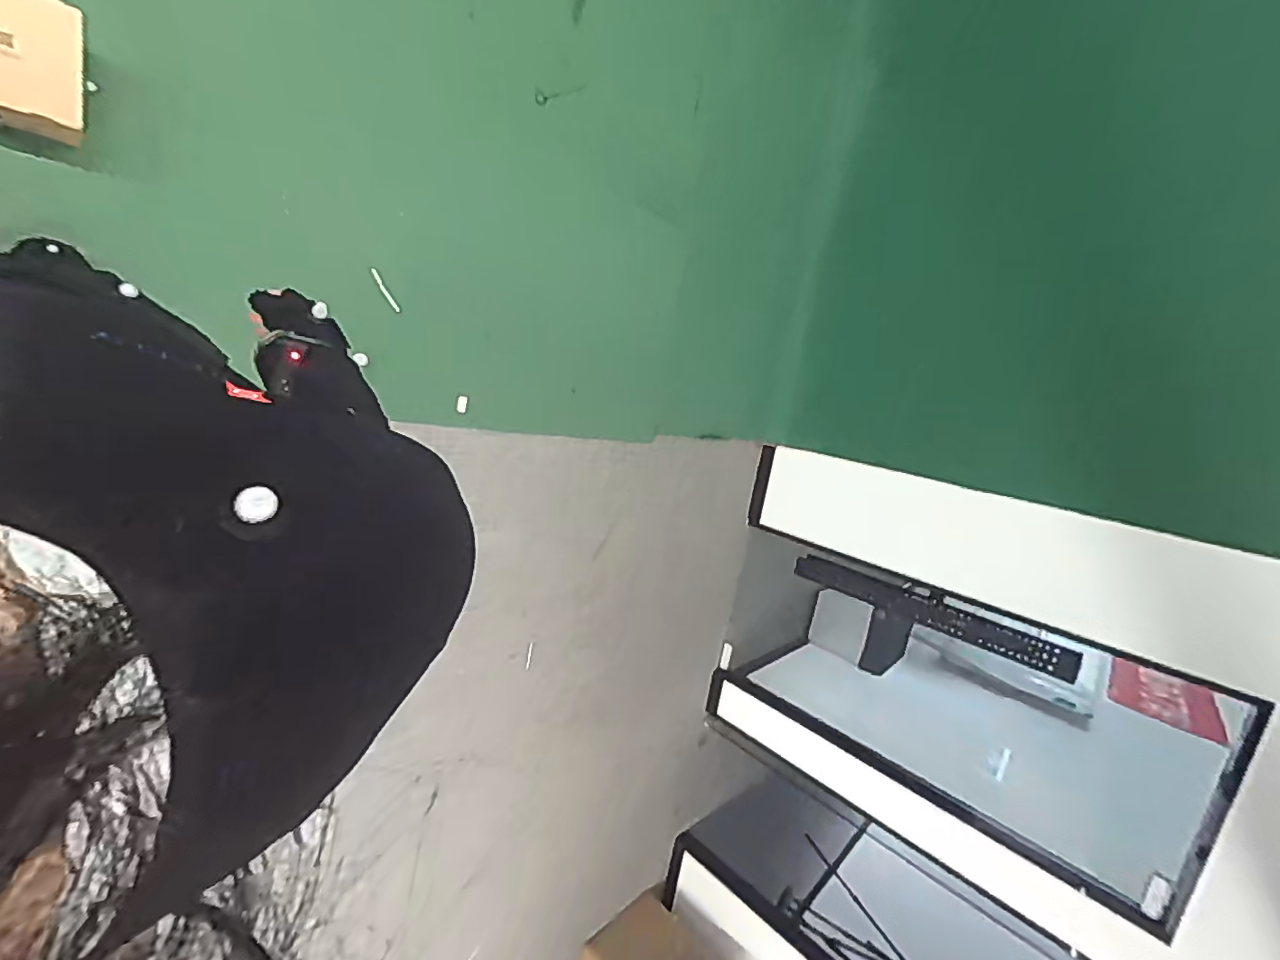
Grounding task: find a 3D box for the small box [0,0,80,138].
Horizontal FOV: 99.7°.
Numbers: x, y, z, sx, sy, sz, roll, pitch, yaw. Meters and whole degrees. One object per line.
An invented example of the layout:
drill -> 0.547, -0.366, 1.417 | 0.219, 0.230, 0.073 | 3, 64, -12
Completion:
small box -> -1.005, -0.674, 0.850 | 0.168, 0.176, 0.179 | -1, 107, -48
